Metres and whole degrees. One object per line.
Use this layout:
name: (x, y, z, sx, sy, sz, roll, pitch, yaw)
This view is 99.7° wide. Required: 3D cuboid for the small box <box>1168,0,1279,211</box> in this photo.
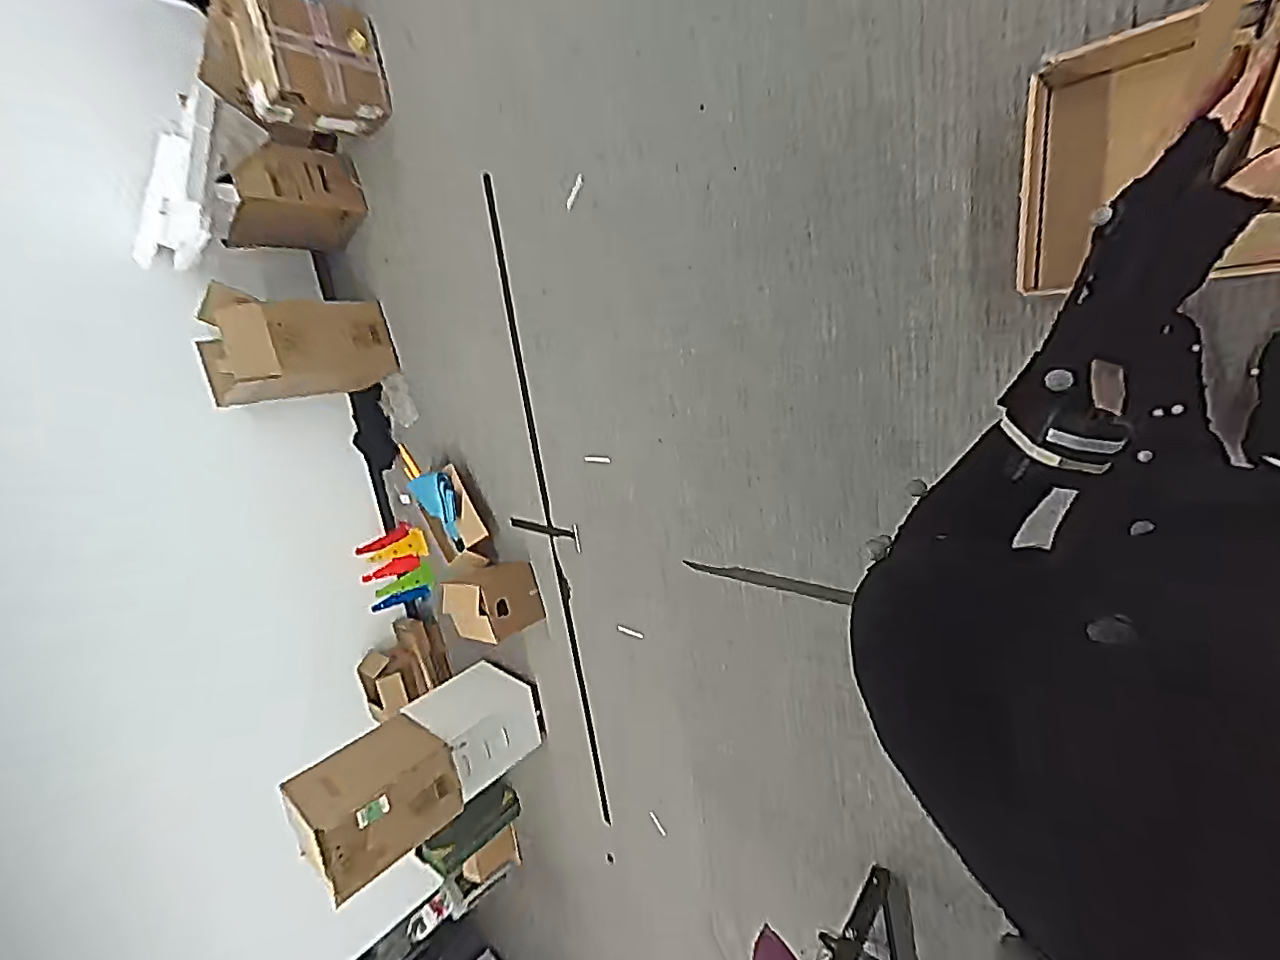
small box: (0.433, -0.251, 0.288, 0.168, 0.176, 0.179, 9, 115, 28)
